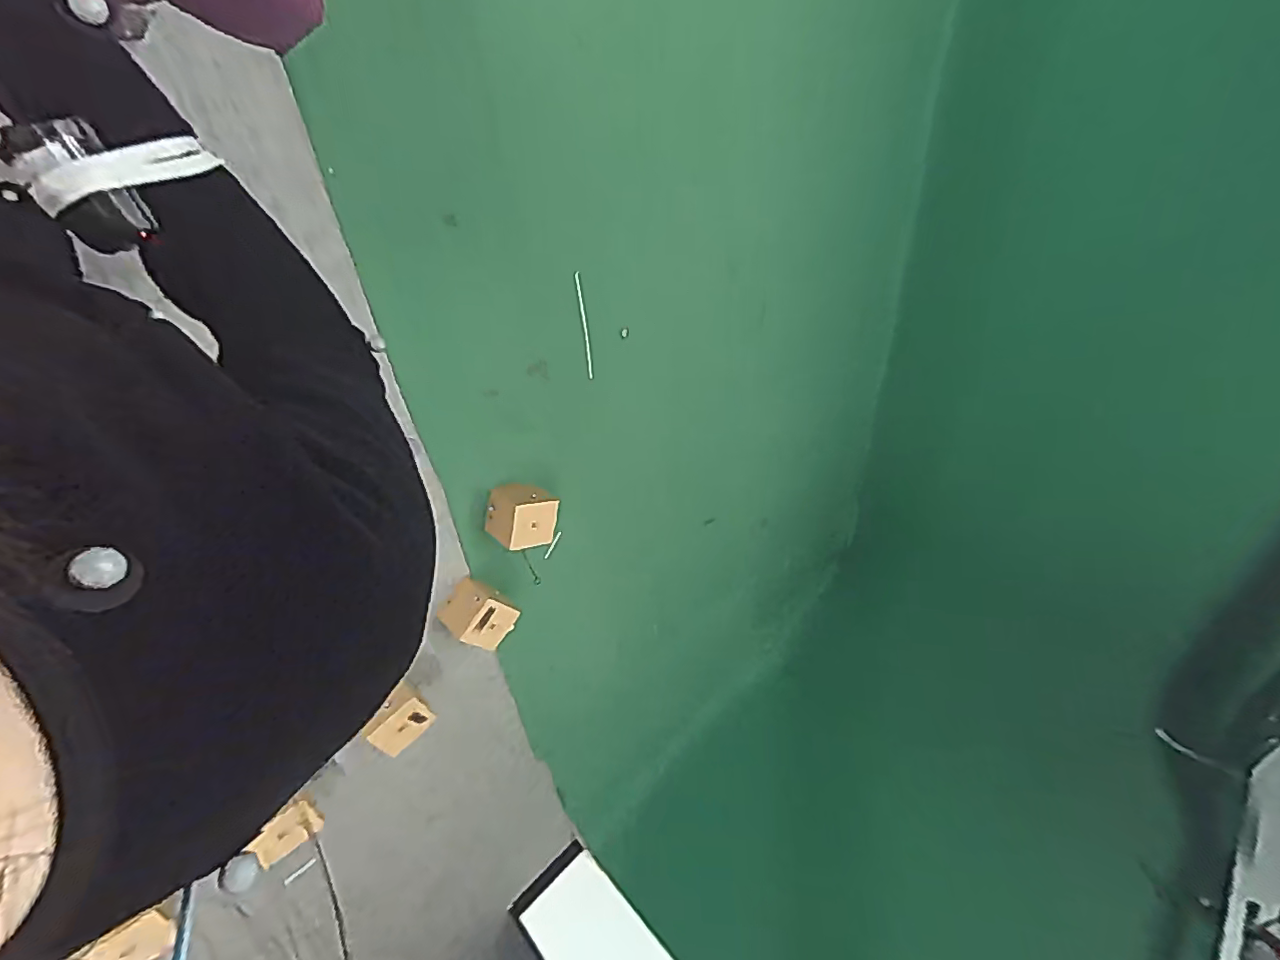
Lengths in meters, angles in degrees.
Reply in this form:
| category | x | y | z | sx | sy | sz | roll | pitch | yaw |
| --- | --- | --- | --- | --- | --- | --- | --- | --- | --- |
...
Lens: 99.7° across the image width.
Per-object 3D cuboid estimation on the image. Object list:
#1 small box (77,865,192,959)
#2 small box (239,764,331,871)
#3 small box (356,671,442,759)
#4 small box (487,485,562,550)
| category | x | y | z | sx | sy | sz | roll | pitch | yaw |
| --- | --- | --- | --- | --- | --- | --- | --- | --- | --- |
| small box | -1.345 | 1.185 | 1.438 | 0.179 | 0.176 | 0.168 | -27 | 128 | -36 |
| small box | -1.075 | 1.011 | 1.630 | 0.179 | 0.176 | 0.168 | -31 | 132 | -32 |
| small box | -0.800 | 0.772 | 1.793 | 0.179 | 0.176 | 0.168 | -41 | 136 | -23 |
| small box | -0.400 | 0.123 | 1.867 | 0.179 | 0.176 | 0.168 | -6 | 115 | -45 |
